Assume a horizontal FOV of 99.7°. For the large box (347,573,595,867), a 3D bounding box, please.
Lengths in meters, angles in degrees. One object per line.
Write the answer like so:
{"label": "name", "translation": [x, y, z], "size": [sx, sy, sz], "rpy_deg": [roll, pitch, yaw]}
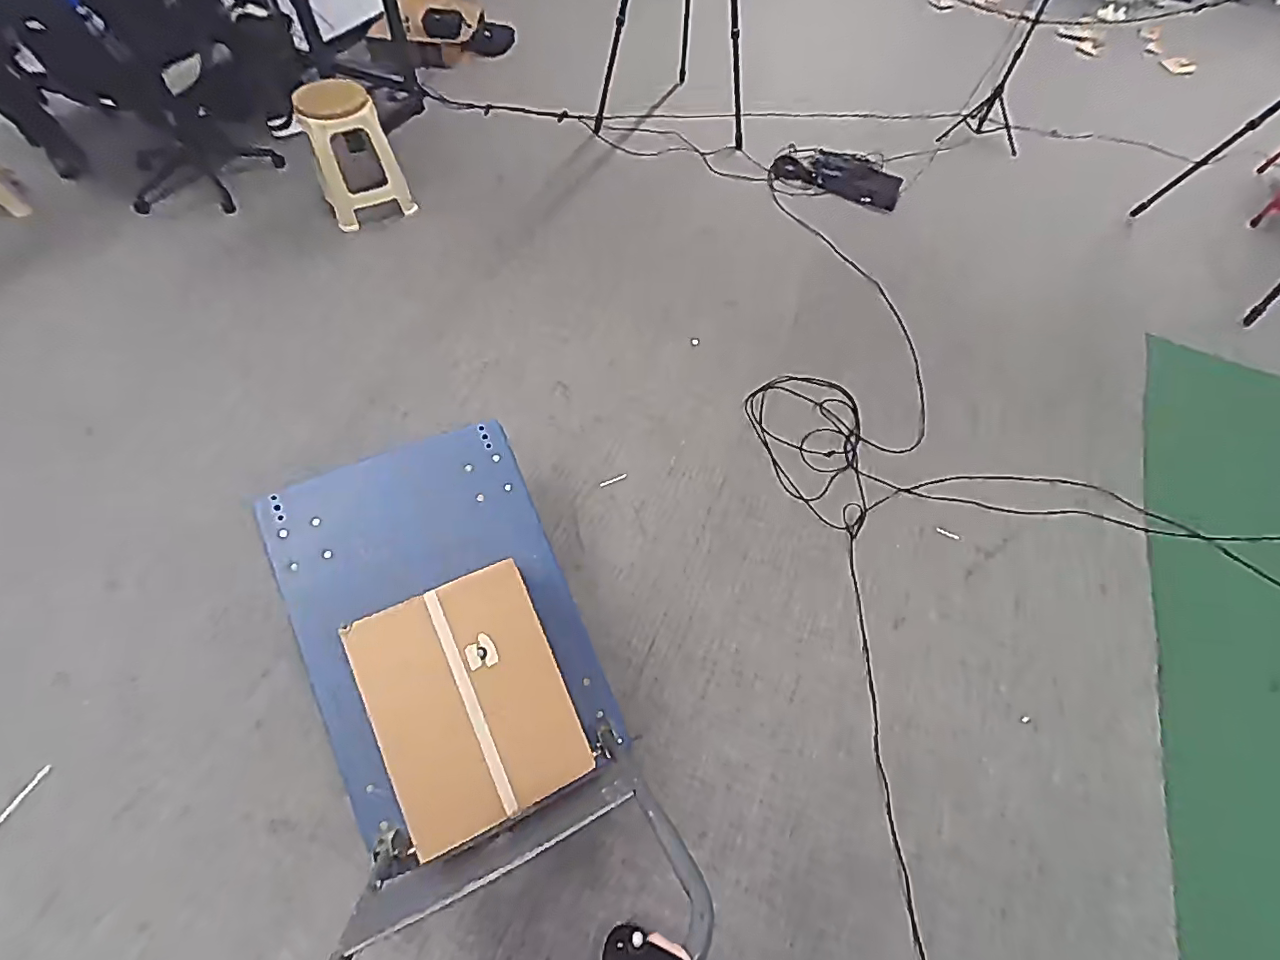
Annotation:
{"label": "large box", "translation": [-0.321, 0.442, 1.094], "size": [0.320, 0.320, 0.408], "rpy_deg": [-22, 81, -17]}
